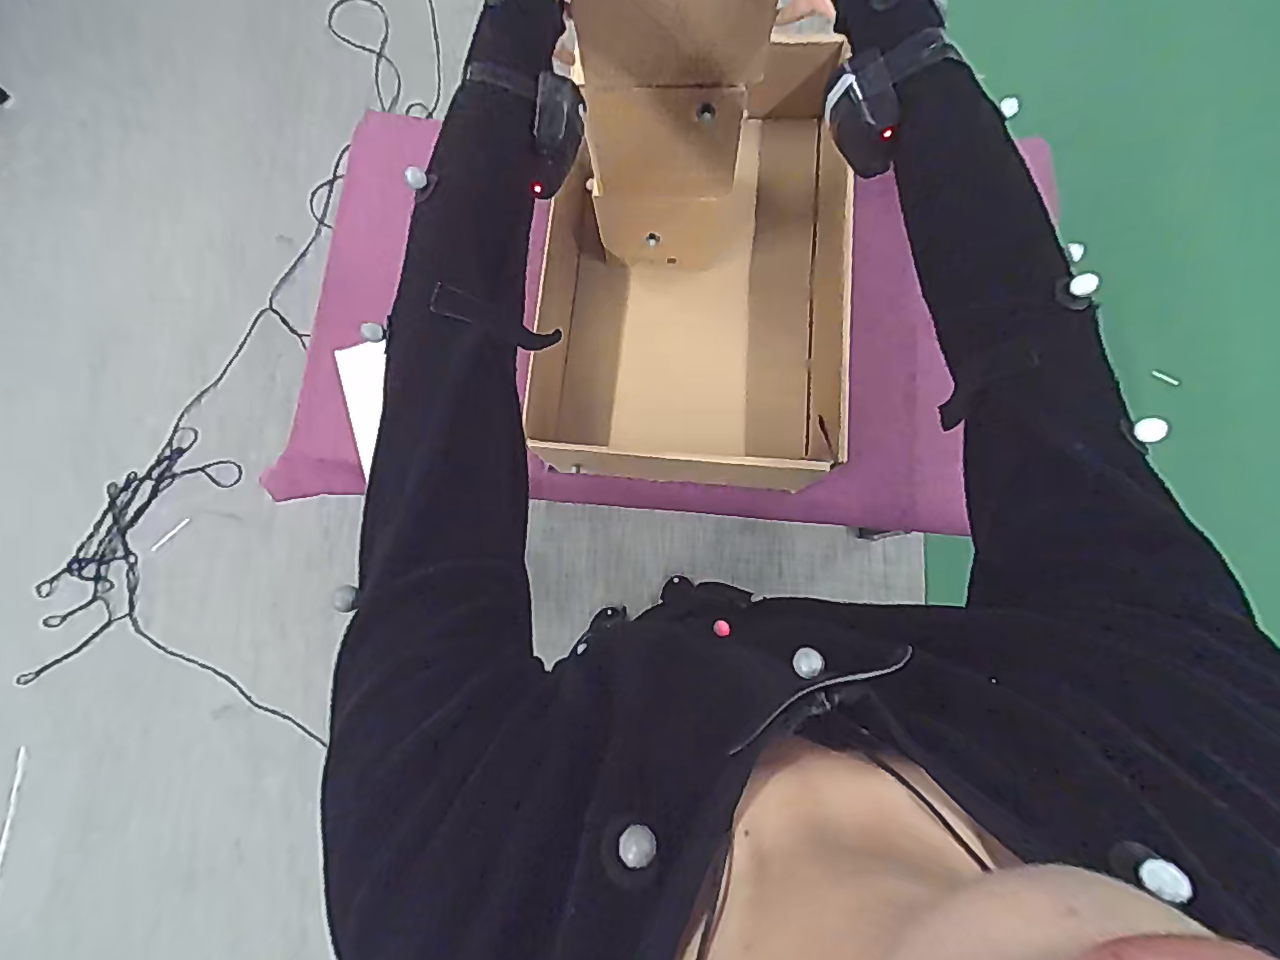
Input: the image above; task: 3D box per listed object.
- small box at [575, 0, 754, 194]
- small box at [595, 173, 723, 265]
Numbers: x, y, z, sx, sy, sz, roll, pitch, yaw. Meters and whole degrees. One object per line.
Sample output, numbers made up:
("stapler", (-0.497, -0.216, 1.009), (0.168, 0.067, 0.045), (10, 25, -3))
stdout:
("small box", (0.032, -0.454, 0.619), (0.179, 0.176, 0.168), (3, 82, 4))
("small box", (0.037, -0.432, 0.778), (0.168, 0.176, 0.179), (5, 82, 5))
